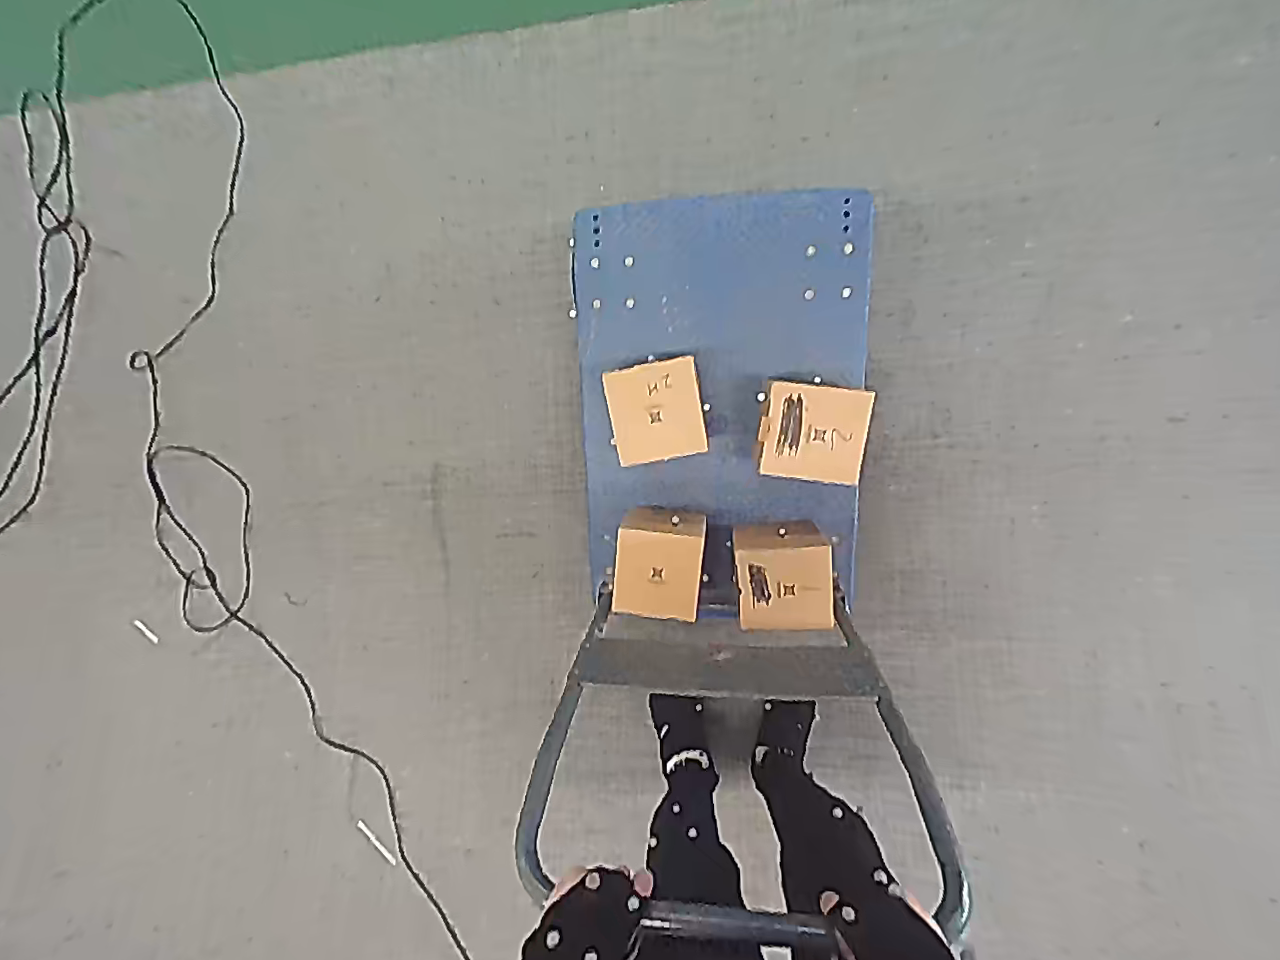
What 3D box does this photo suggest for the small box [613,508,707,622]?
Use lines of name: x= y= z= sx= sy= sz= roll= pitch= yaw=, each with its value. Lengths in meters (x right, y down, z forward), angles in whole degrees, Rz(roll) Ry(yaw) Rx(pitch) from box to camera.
small box: x=0.044 y=0.164 z=1.110 sx=0.168 sy=0.176 sz=0.179 roll=6 pitch=104 yaw=6

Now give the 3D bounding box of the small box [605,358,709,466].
small box: x=0.041 y=-0.137 z=1.046 sx=0.168 sy=0.176 sz=0.179 roll=-9 pitch=100 yaw=8
